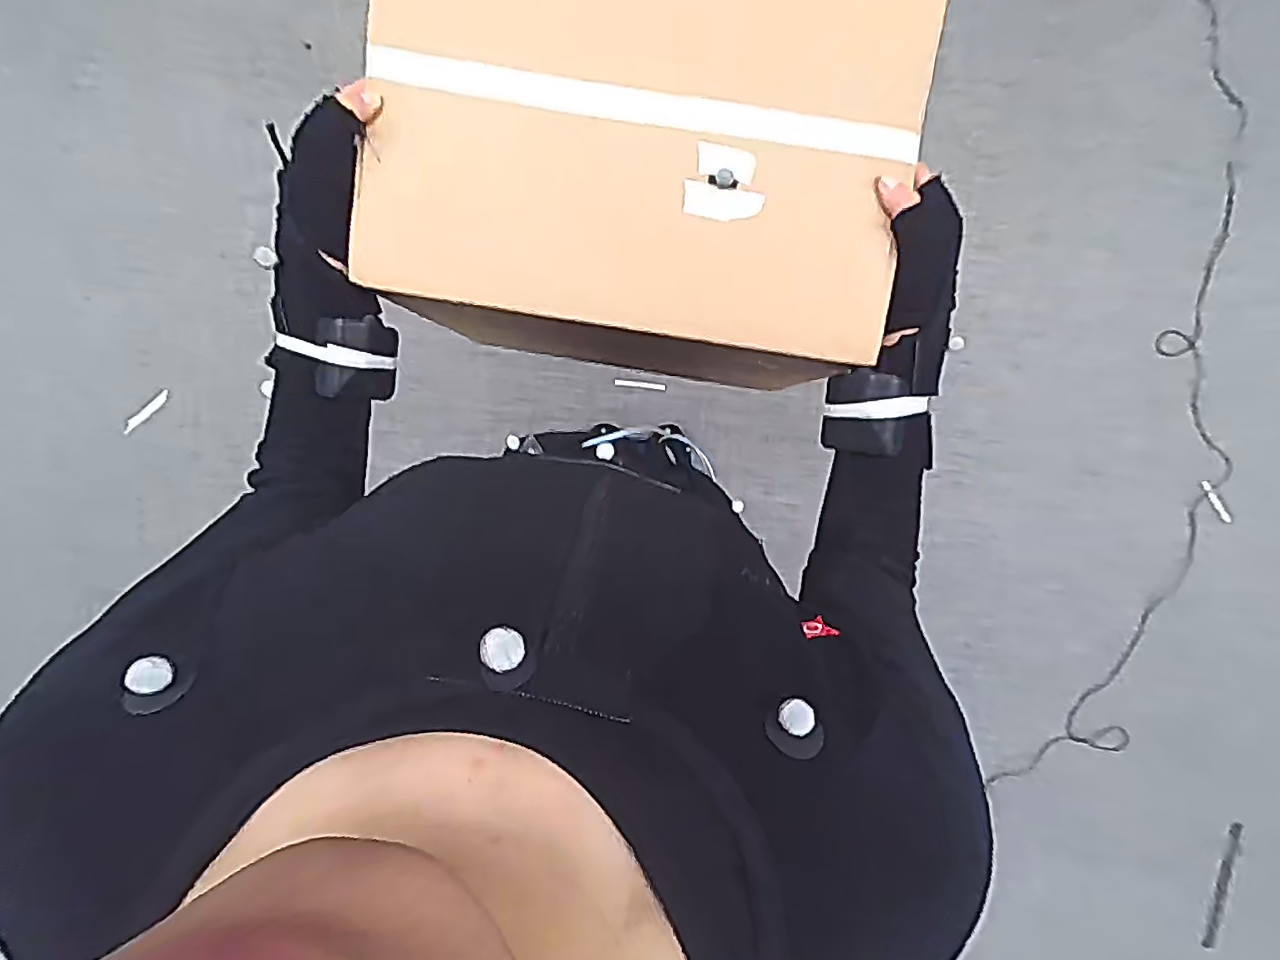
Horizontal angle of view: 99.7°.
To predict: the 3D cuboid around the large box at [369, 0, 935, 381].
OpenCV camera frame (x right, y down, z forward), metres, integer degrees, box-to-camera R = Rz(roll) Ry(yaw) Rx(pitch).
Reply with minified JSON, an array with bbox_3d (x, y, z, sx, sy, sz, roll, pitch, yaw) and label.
[{"bbox_3d":[0.004,-0.293,0.554,0.408,0.320,0.320,9,97,-1],"label":"large box"}]
